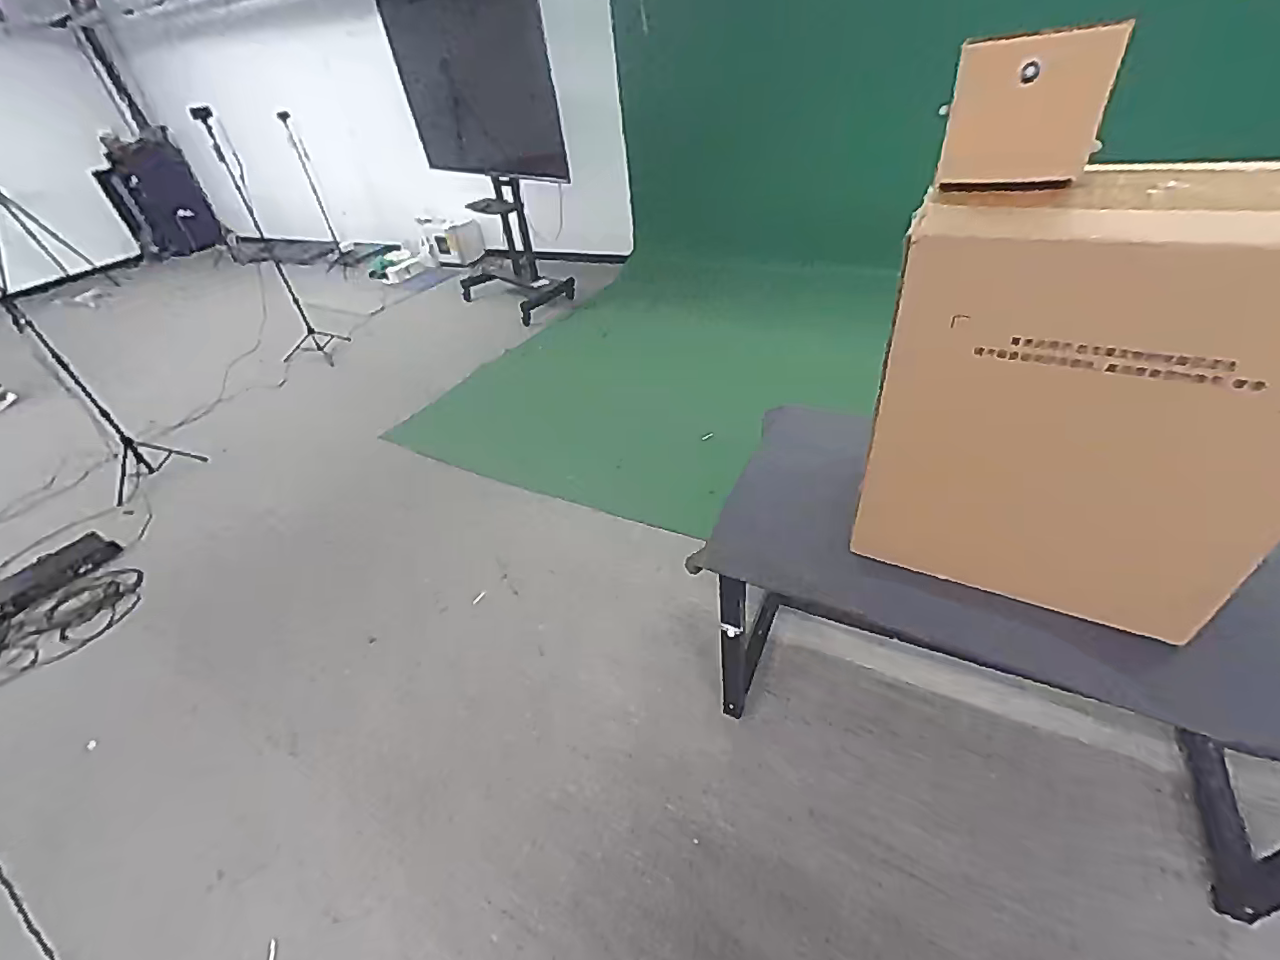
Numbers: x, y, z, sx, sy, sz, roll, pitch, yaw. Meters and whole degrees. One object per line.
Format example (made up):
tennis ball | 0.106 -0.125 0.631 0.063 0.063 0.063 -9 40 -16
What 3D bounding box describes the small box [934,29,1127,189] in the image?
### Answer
small box | 0.536 -0.515 0.771 0.179 0.176 0.168 15 37 23
